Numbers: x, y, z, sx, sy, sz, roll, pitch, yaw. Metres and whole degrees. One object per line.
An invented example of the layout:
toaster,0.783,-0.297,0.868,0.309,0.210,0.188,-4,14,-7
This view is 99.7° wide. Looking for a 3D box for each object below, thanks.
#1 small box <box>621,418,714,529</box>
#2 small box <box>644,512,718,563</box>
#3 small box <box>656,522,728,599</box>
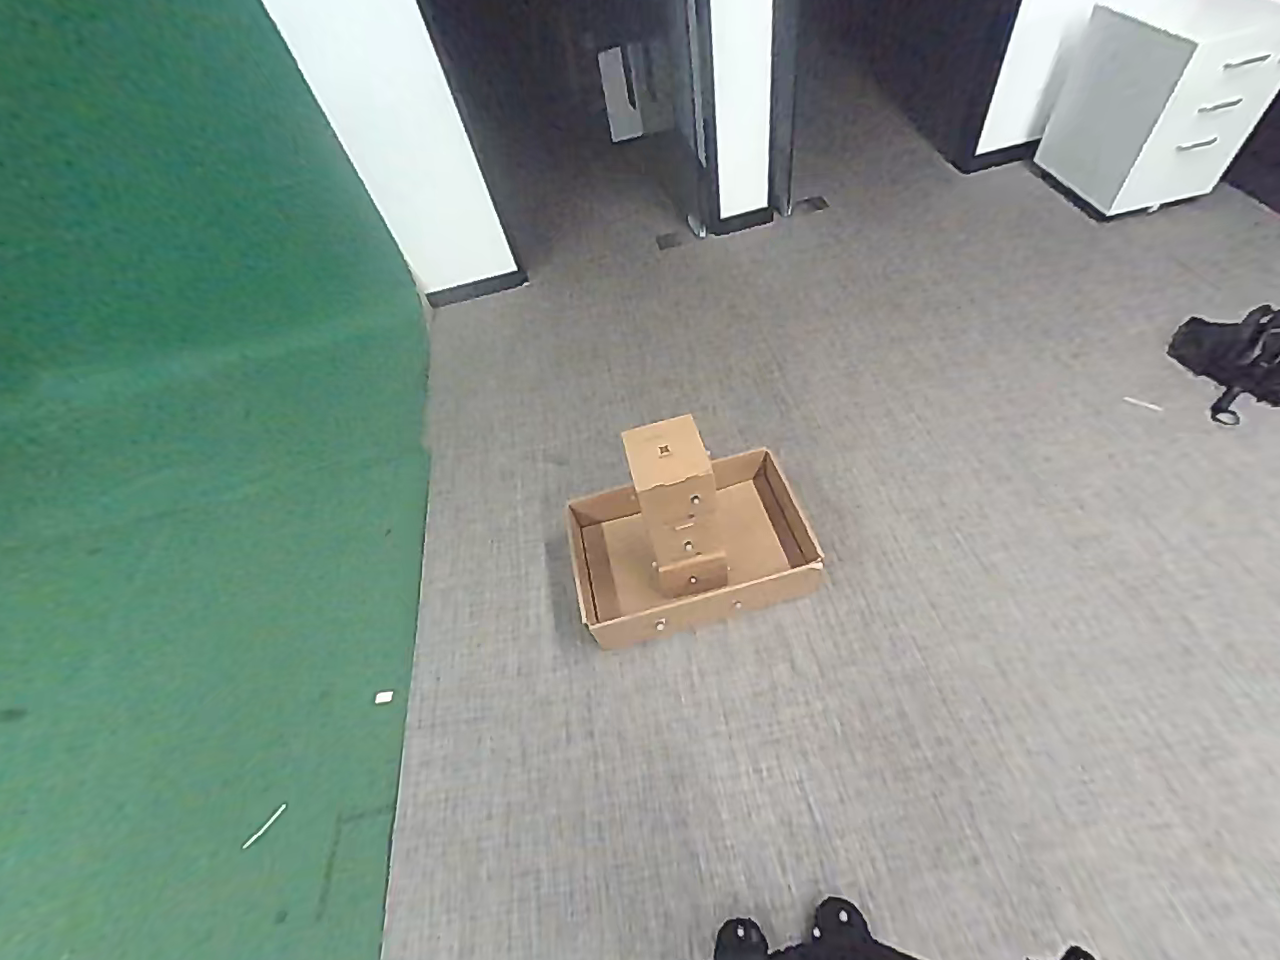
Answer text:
small box,0.064,-0.007,1.219,0.168,0.176,0.179,-15,50,-1
small box,0.093,0.089,1.348,0.168,0.176,0.179,-15,52,0
small box,0.131,0.198,1.464,0.179,0.176,0.168,-16,52,-1
